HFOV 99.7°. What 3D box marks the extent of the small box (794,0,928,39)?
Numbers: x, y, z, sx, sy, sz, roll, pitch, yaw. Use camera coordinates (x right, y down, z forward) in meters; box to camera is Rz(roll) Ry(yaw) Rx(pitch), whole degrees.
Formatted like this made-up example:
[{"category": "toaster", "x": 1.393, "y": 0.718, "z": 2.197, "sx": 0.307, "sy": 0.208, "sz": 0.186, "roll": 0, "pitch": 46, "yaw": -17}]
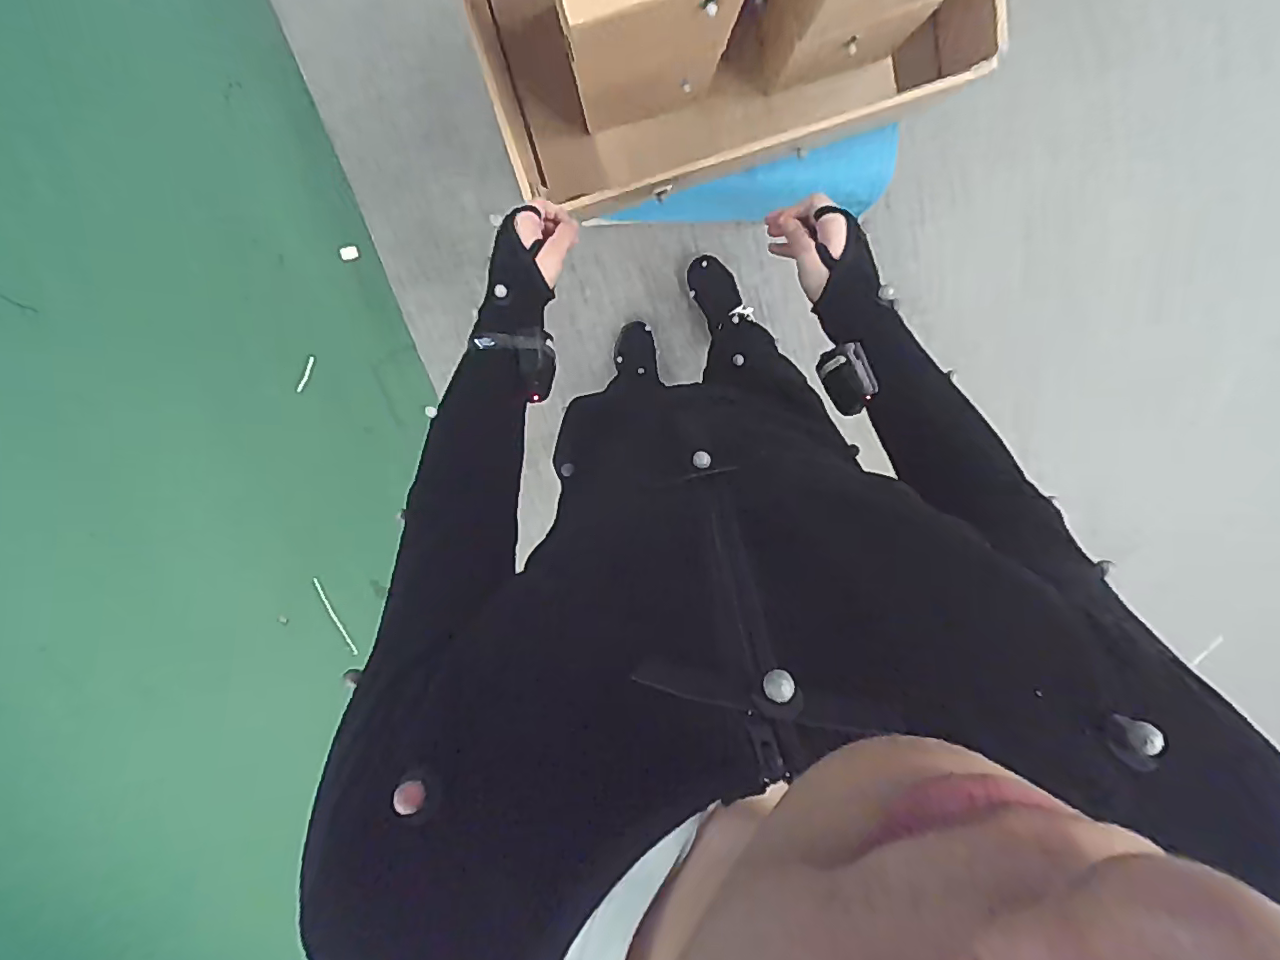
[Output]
[{"category": "small box", "x": 0.243, "y": -0.566, "z": 0.505, "sx": 0.179, "sy": 0.176, "sz": 0.168, "roll": -15, "pitch": 106, "yaw": 7}]
